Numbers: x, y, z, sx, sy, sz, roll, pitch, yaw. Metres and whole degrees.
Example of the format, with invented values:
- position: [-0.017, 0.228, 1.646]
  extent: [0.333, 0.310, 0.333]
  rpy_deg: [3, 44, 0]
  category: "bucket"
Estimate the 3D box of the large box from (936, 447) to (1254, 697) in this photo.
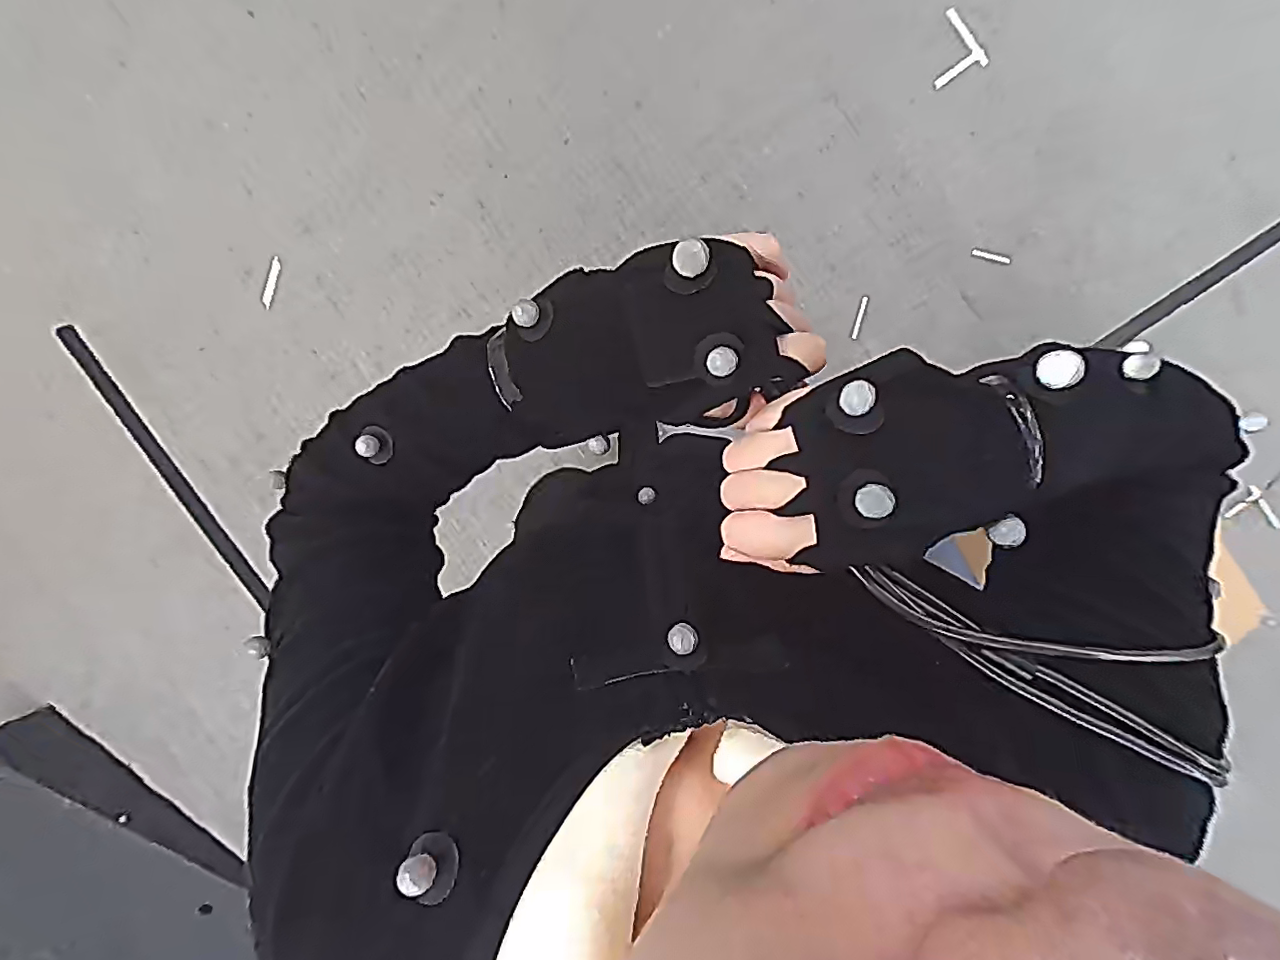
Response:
- position: [0.964, 0.174, 1.196]
  extent: [0.320, 0.320, 0.408]
  rpy_deg: [-35, 95, 1]
  category: "large box"
